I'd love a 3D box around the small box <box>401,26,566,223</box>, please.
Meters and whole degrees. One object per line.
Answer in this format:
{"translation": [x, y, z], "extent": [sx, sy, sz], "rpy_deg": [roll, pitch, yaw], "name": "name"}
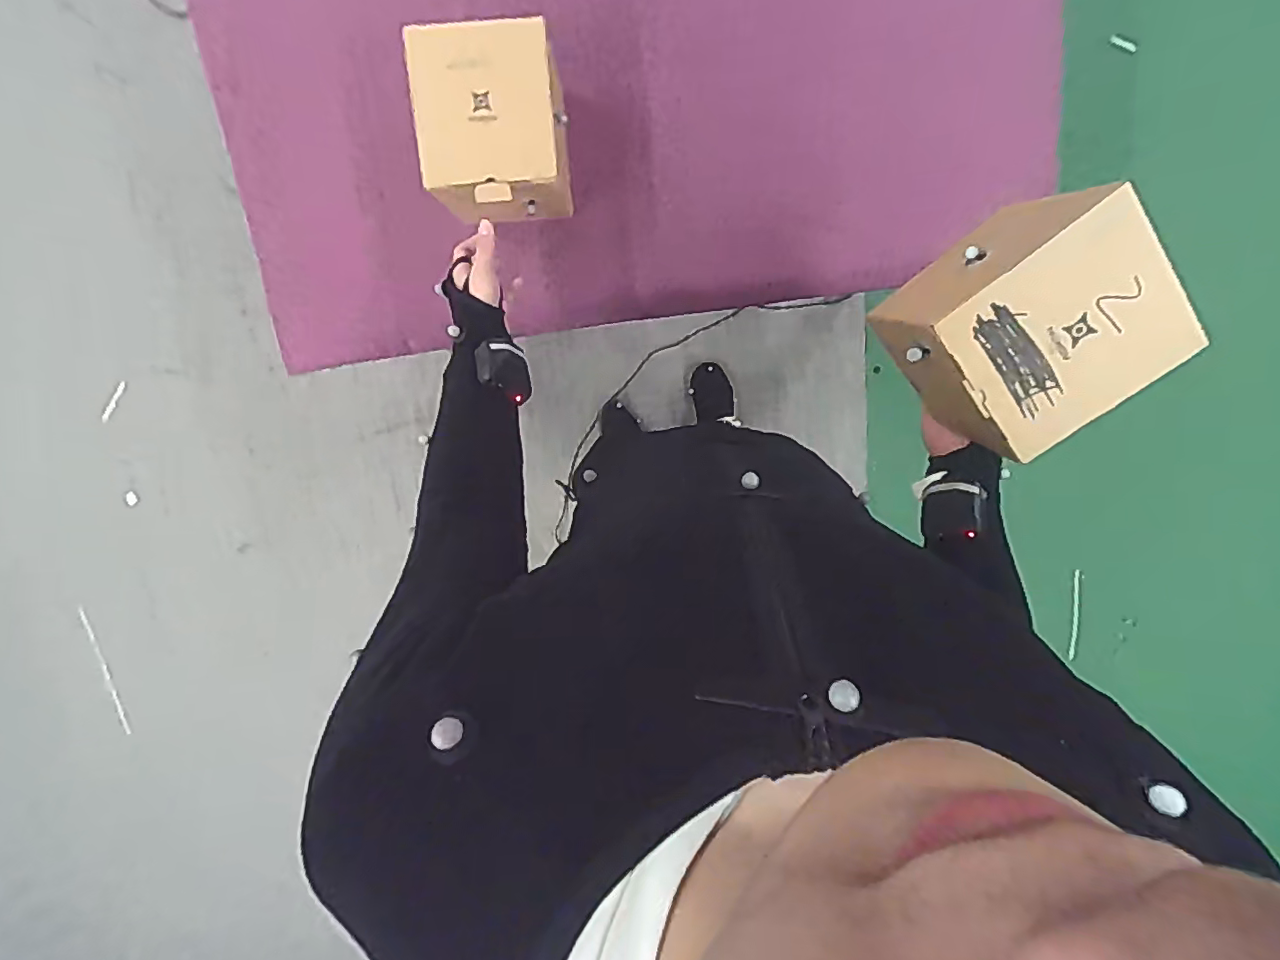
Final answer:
{"translation": [-0.195, -0.457, 0.725], "extent": [0.168, 0.176, 0.179], "rpy_deg": [-4, 101, 0], "name": "small box"}
